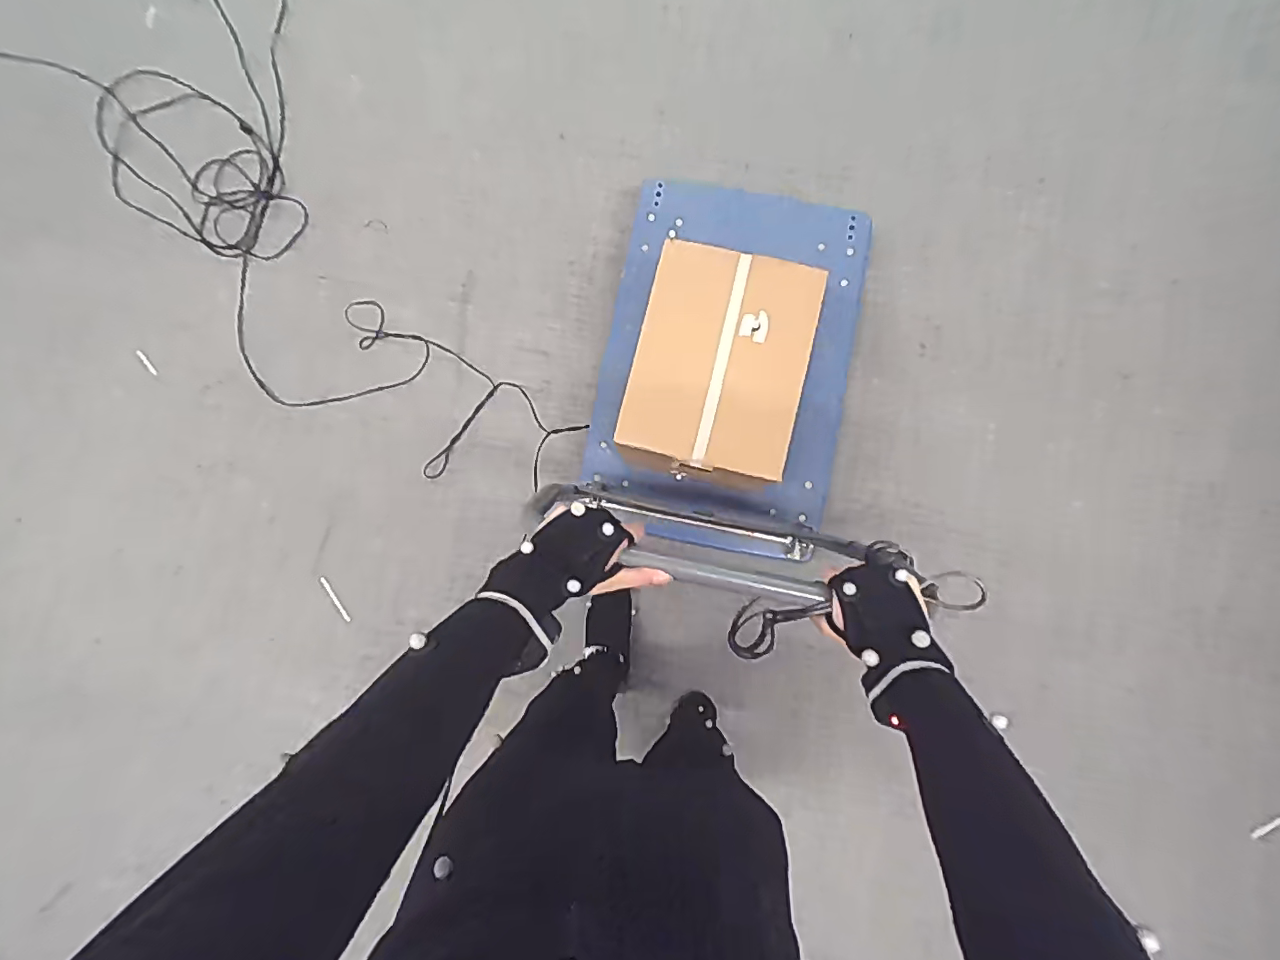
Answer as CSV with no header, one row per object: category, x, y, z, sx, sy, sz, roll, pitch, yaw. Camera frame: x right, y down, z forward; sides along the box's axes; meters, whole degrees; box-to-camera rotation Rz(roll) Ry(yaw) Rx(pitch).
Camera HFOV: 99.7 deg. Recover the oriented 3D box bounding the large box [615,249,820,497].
large box,0.151,-0.198,1.145,0.320,0.320,0.408,14,85,3
